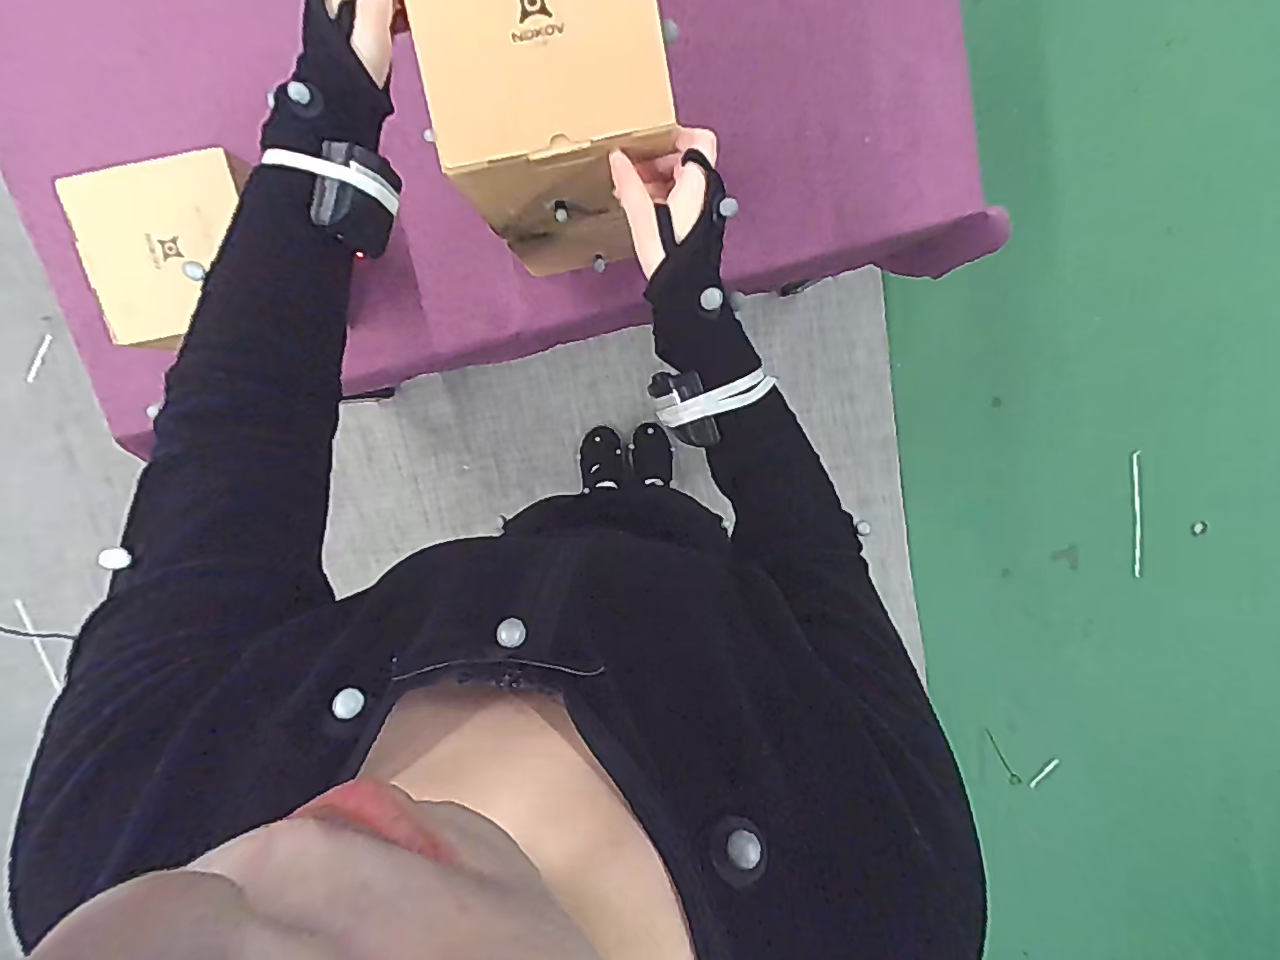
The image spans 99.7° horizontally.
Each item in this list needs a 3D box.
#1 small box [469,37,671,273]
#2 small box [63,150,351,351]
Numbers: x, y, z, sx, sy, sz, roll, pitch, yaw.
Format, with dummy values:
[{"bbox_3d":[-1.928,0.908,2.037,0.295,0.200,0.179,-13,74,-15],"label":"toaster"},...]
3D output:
[{"bbox_3d":[-0.071,-0.350,0.618,0.179,0.176,0.168,-12,100,1],"label":"small box"},{"bbox_3d":[-0.479,-0.249,0.630,0.179,0.176,0.168,-11,101,0],"label":"small box"}]
